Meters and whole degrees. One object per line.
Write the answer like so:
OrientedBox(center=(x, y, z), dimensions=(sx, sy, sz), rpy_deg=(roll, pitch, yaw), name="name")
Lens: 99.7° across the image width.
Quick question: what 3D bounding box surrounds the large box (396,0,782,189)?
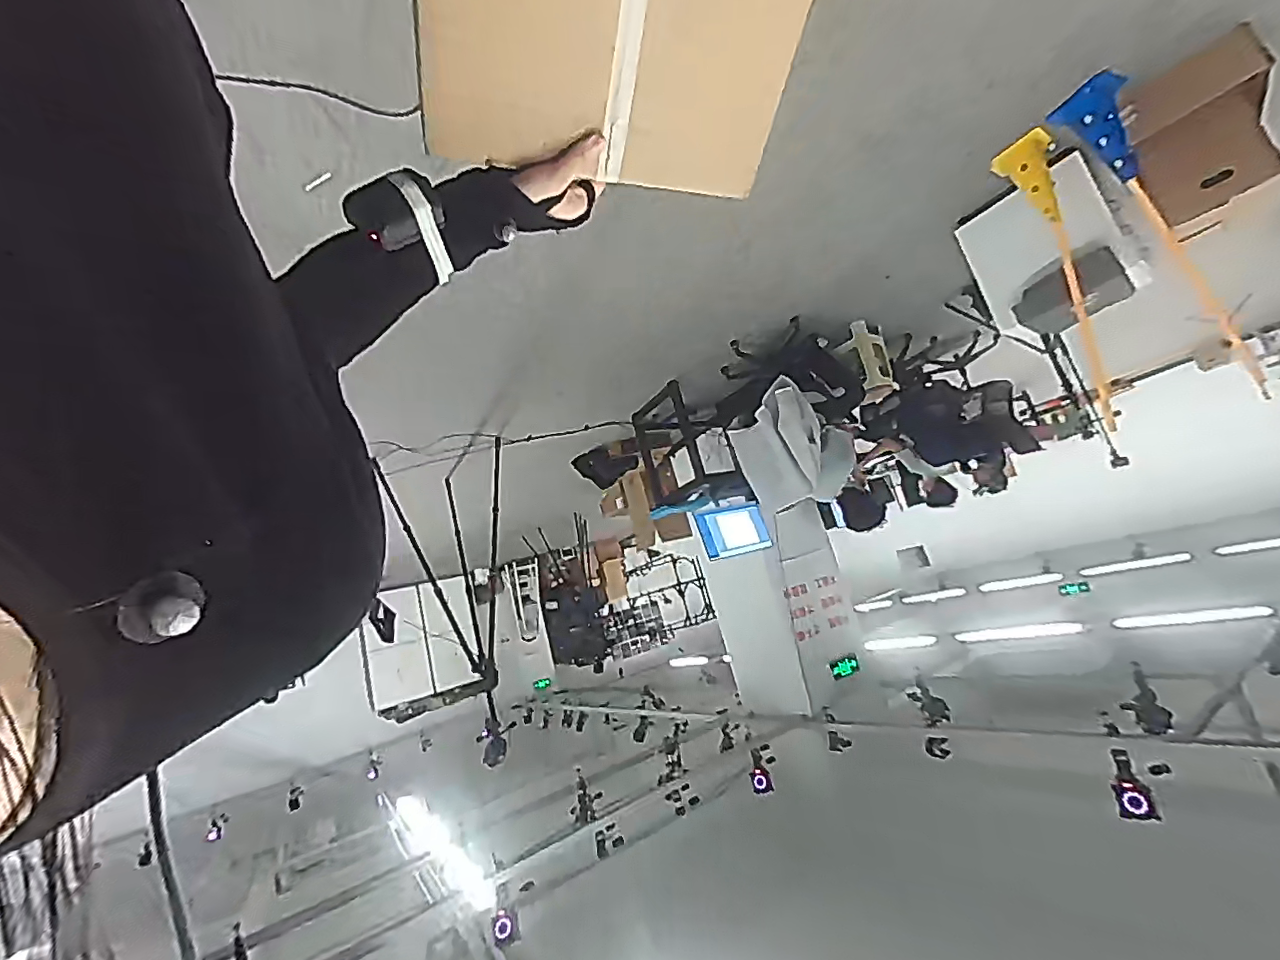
OrientedBox(center=(-0.055, -0.535, 0.477), dimensions=(0.320, 0.320, 0.408), rpy_deg=(-4, 136, -21), name="large box")
